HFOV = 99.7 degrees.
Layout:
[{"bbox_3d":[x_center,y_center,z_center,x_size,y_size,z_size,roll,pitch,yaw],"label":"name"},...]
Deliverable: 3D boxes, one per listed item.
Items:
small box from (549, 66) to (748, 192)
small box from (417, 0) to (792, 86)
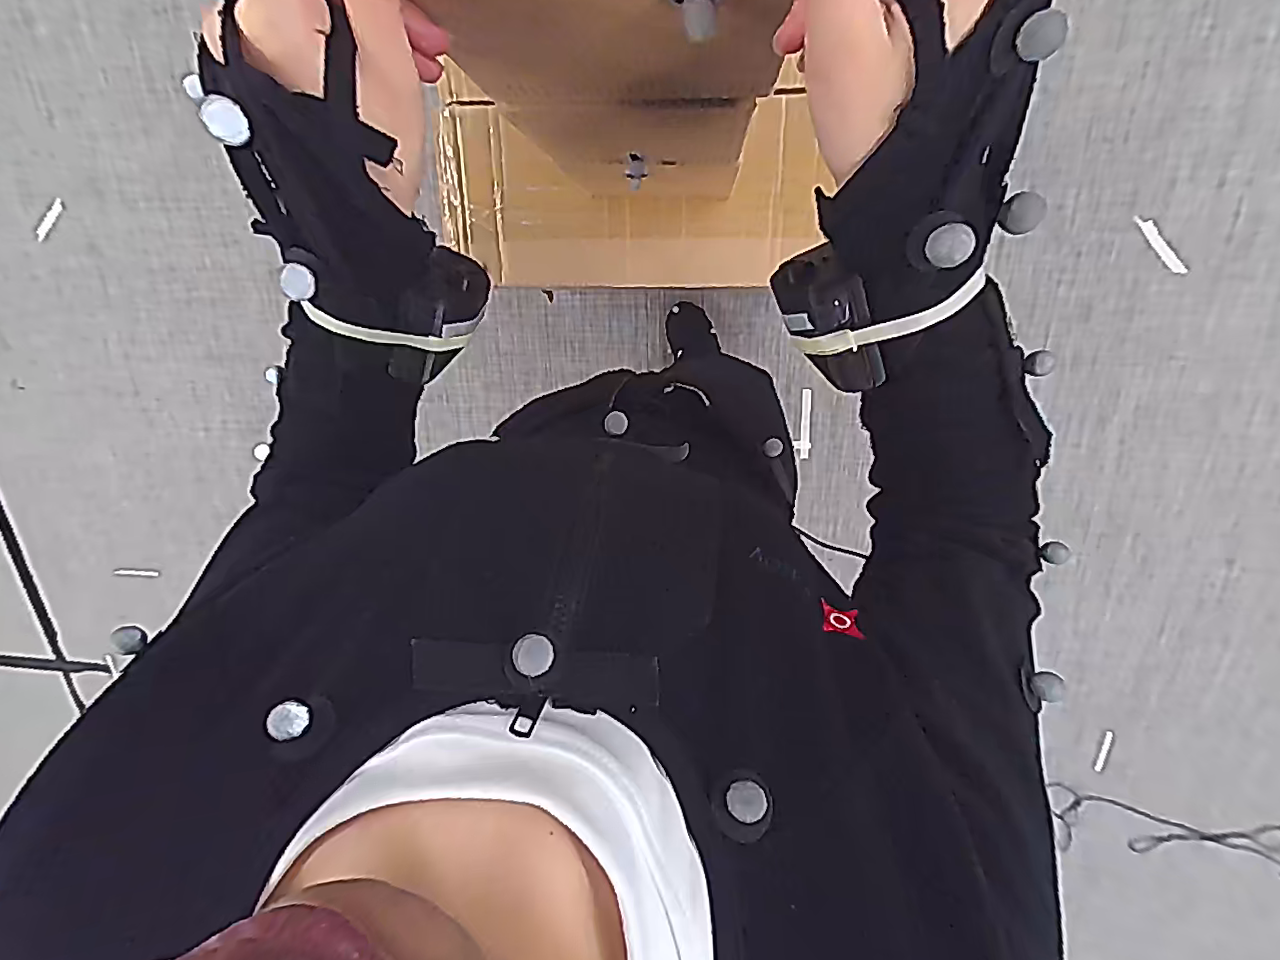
[{"bbox_3d":[0.015,-0.393,0.538,0.179,0.176,0.168,3,109,5],"label":"small box"},{"bbox_3d":[-0.013,-0.290,0.224,0.179,0.176,0.168,3,108,5],"label":"small box"}]
